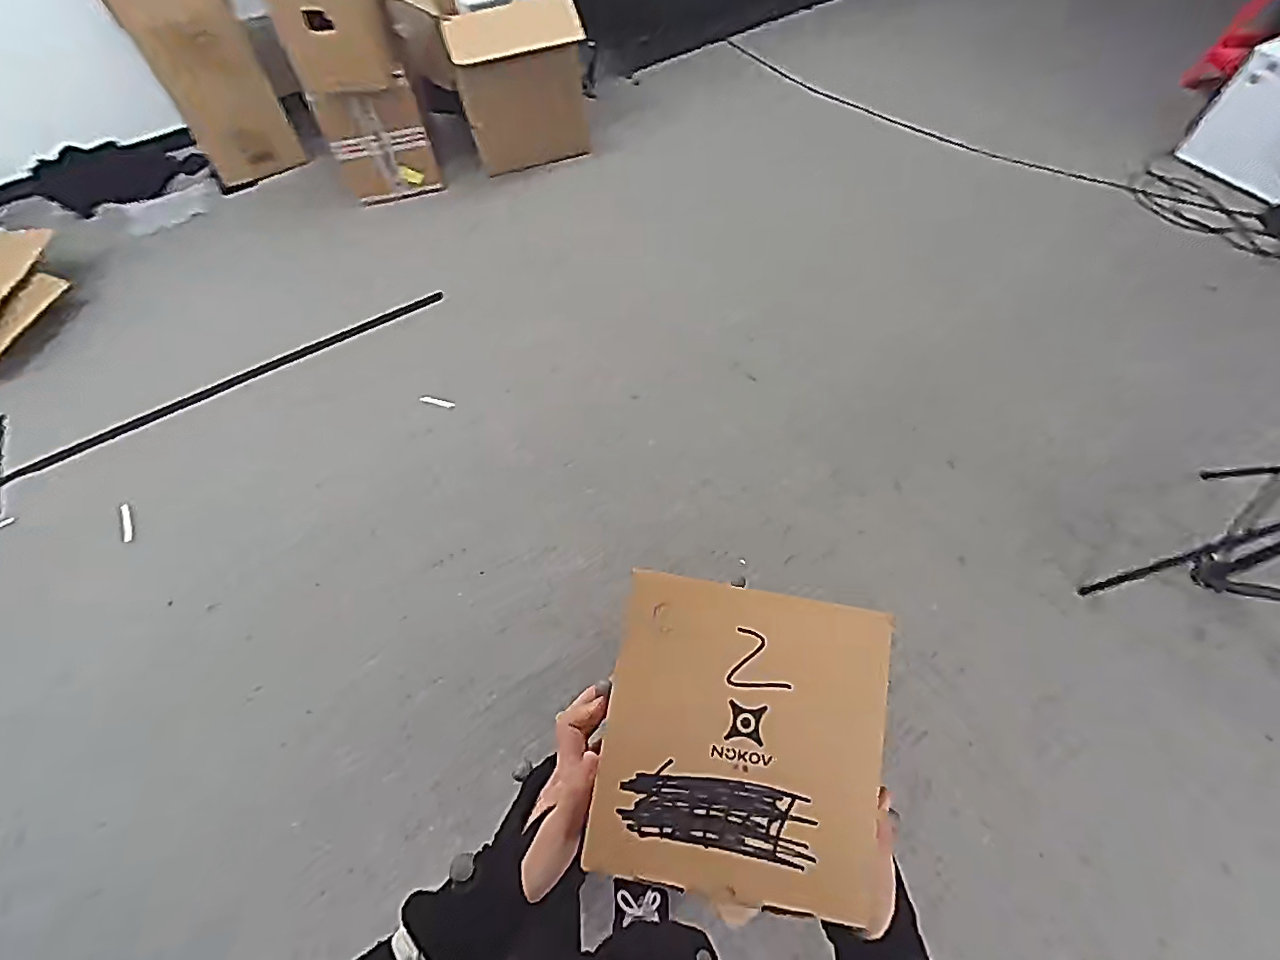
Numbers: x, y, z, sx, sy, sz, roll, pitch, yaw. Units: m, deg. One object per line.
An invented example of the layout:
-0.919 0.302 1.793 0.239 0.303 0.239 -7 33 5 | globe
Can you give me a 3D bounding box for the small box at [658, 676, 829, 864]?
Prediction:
0.141 0.419 0.796 0.179 0.176 0.168 -30 62 -11 | small box
